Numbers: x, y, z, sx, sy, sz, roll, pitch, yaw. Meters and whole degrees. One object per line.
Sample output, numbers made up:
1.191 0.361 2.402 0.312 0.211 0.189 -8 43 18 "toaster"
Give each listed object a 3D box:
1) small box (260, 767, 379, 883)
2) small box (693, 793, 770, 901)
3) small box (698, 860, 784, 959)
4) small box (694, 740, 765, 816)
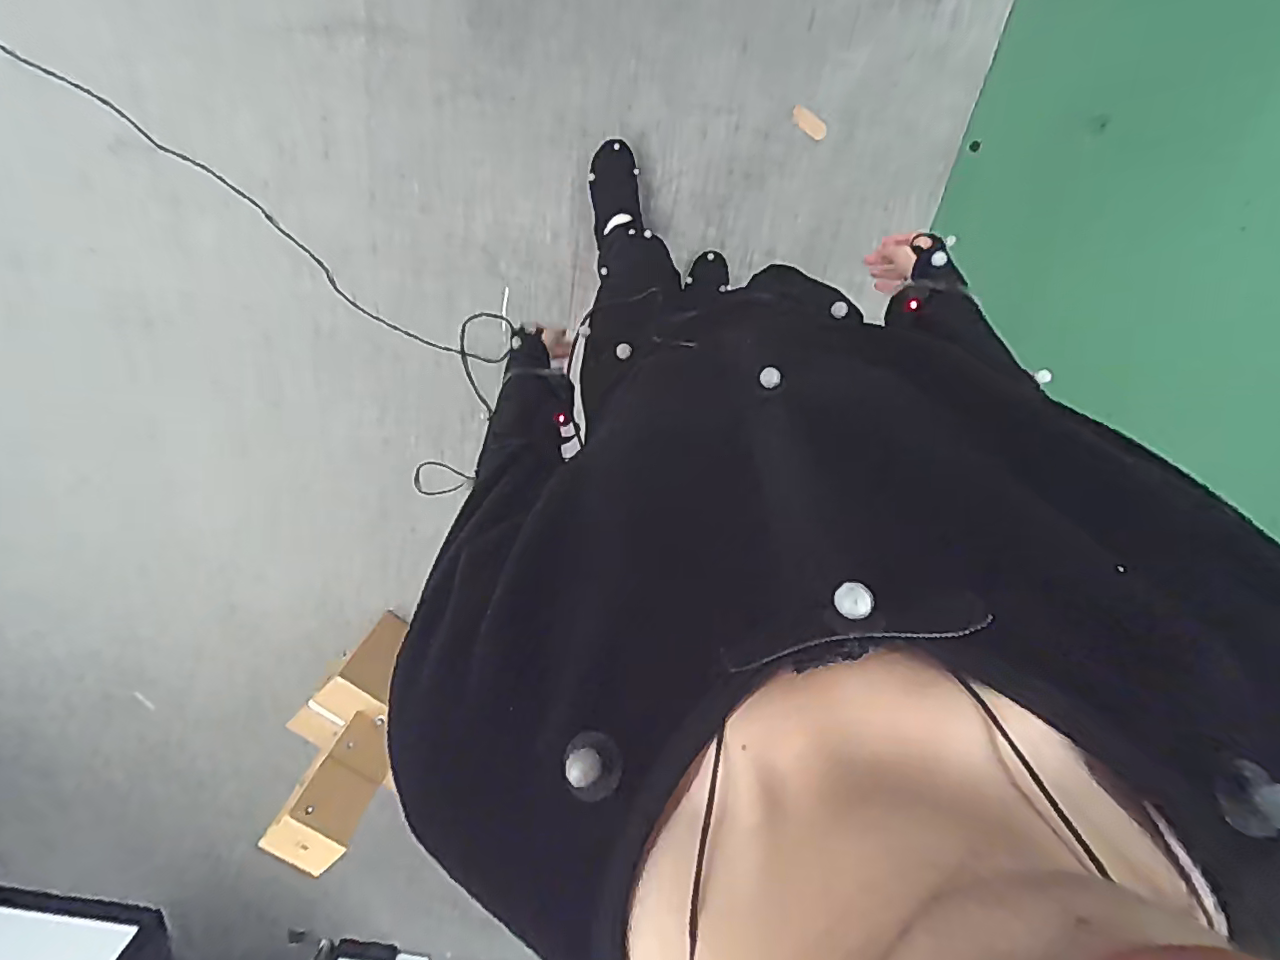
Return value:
-0.828 0.898 1.416 0.179 0.176 0.168 41 110 -12 "small box"
0.223 0.921 1.358 0.168 0.176 0.179 2 113 3 "small box"
0.217 0.988 1.208 0.168 0.176 0.179 1 111 4 "small box"
0.243 0.853 1.506 0.179 0.176 0.168 1 112 4 "small box"
